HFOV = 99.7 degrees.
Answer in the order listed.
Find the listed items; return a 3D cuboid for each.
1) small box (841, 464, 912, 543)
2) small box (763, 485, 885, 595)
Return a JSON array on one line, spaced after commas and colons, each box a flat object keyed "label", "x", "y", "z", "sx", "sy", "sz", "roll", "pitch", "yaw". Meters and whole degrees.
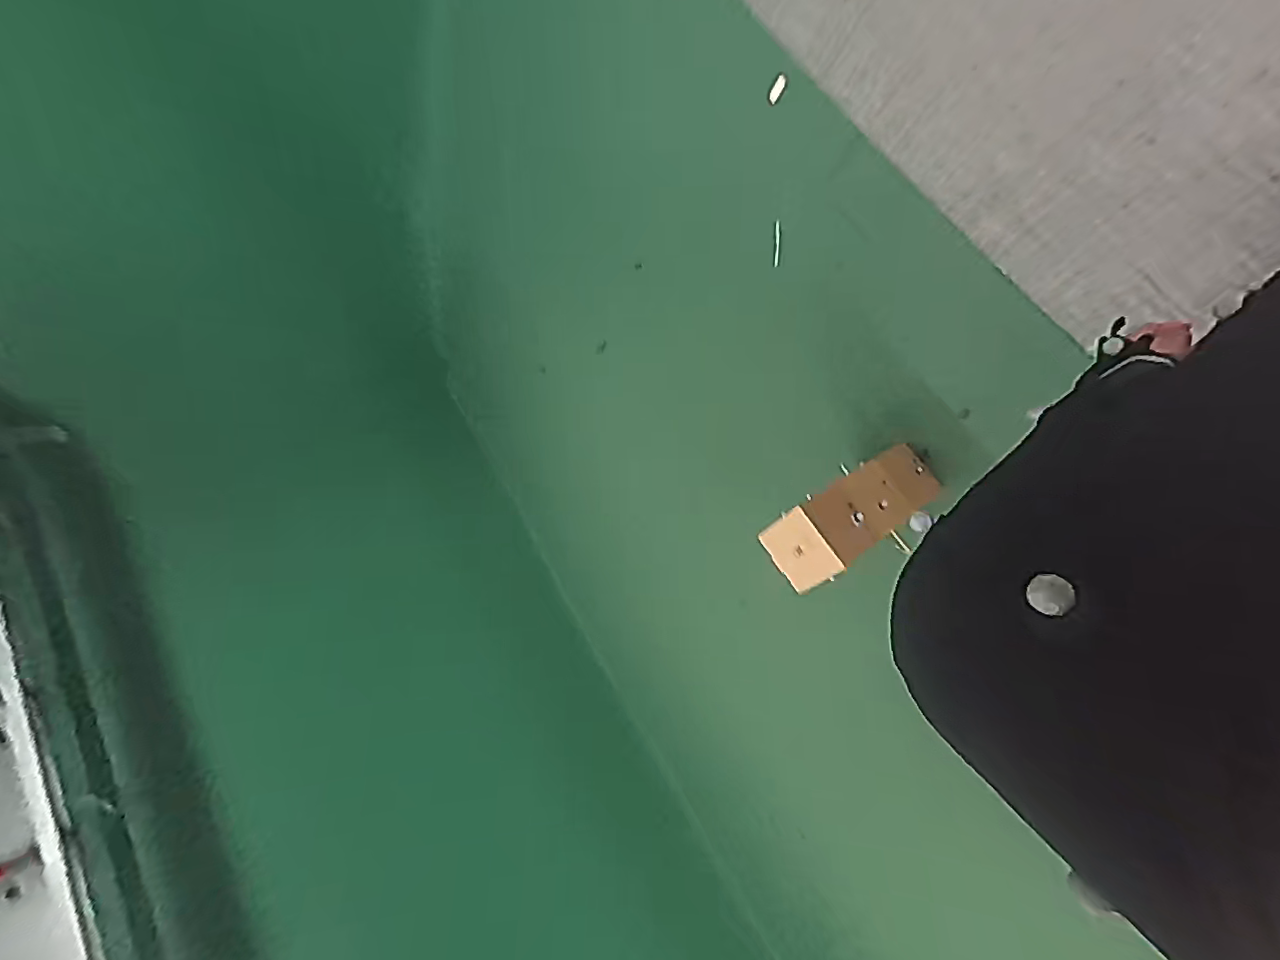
[{"label": "small box", "x": 0.555, "y": 0.084, "z": 1.369, "sx": 0.168, "sy": 0.176, "sz": 0.179, "roll": 57, "pitch": 146, "yaw": 14}, {"label": "small box", "x": 0.434, "y": 0.139, "z": 1.275, "sx": 0.168, "sy": 0.176, "sz": 0.179, "roll": 55, "pitch": 145, "yaw": 15}]
